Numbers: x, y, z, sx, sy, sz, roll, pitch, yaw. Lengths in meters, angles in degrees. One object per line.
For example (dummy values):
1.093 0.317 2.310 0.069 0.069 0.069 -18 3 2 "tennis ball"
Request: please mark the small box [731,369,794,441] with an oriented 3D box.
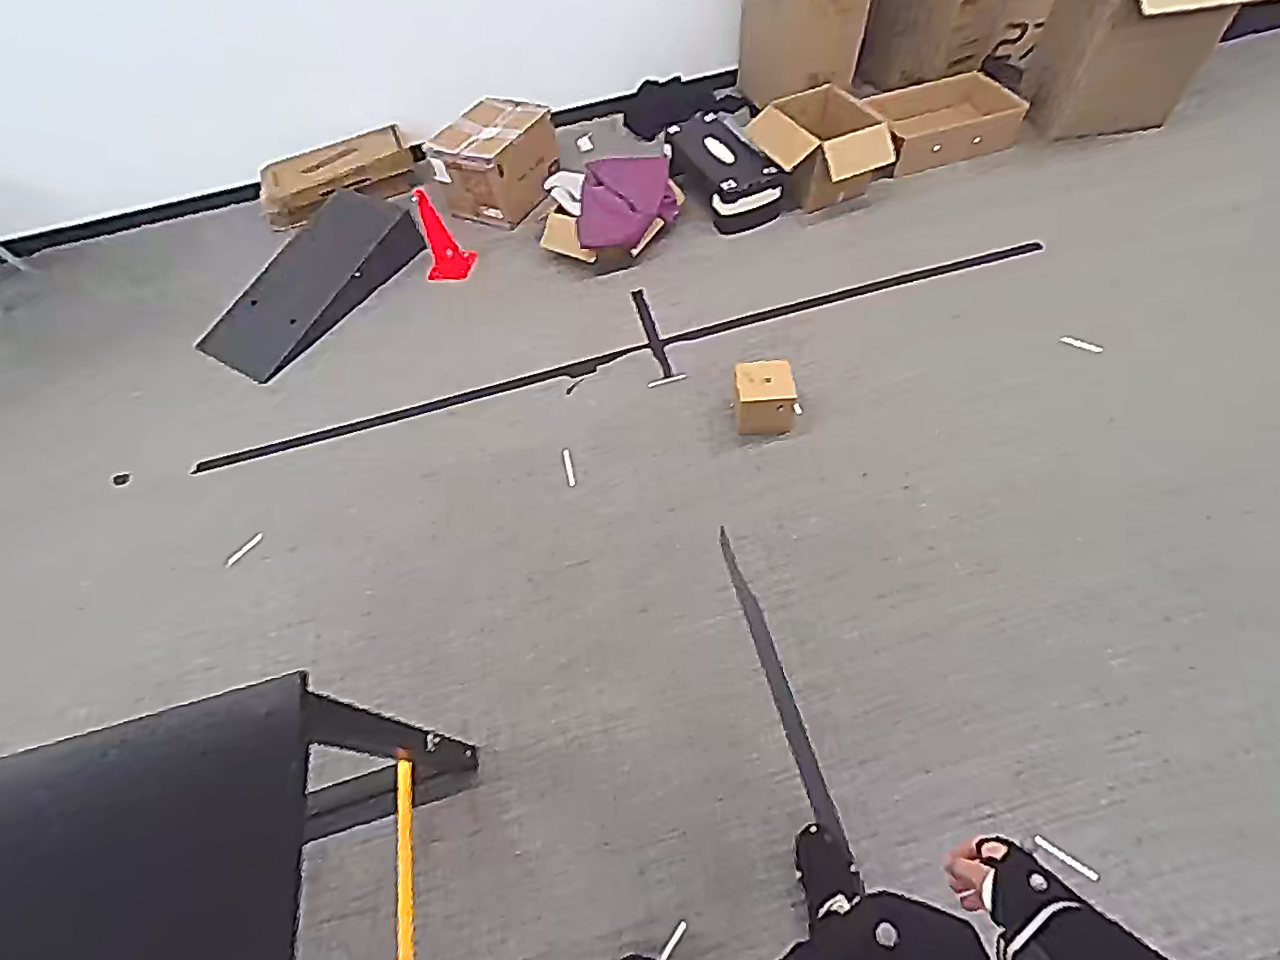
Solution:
0.399 -0.245 1.788 0.179 0.176 0.168 -4 56 4 "small box"
